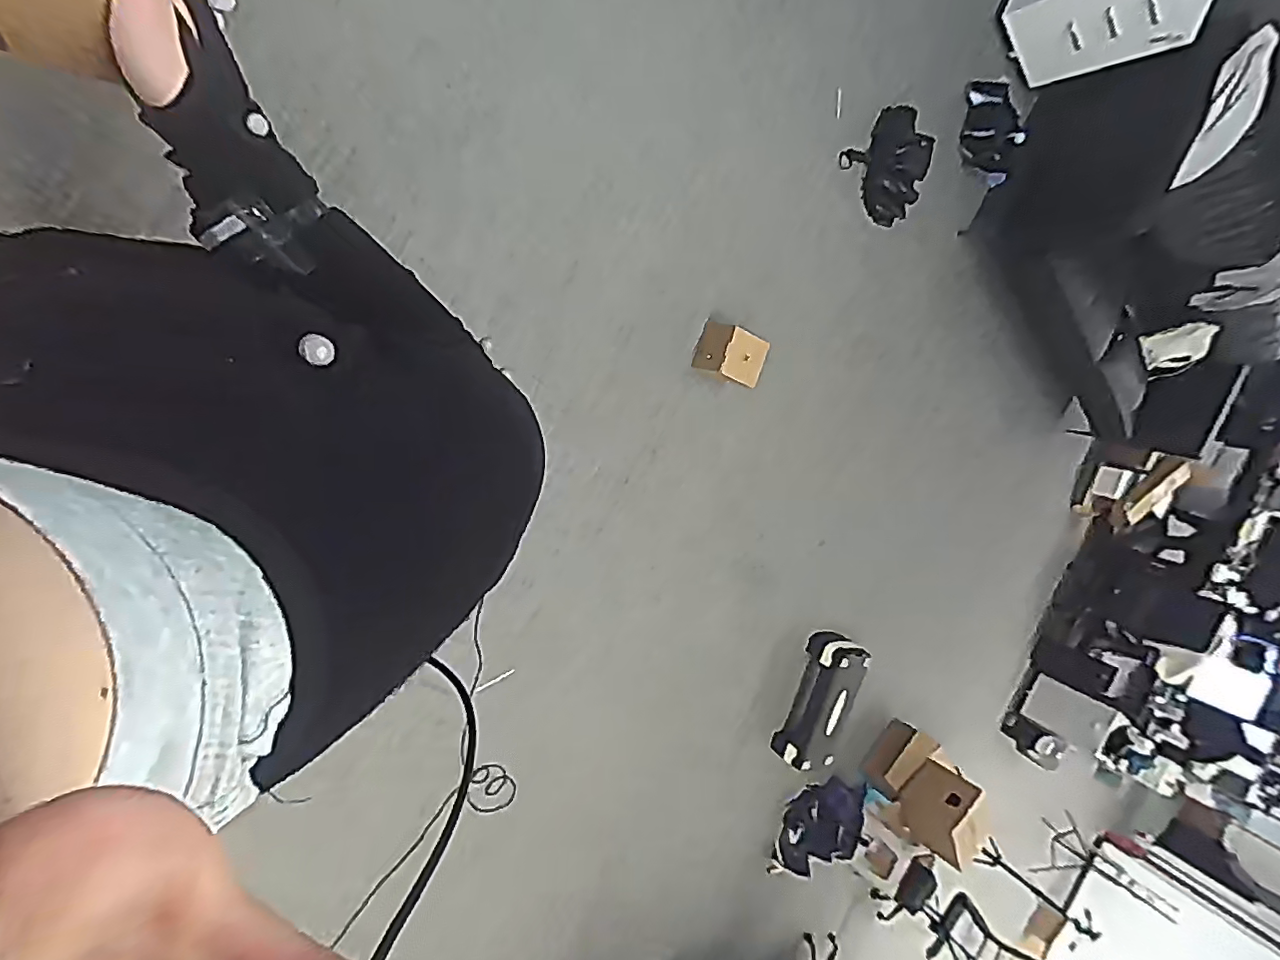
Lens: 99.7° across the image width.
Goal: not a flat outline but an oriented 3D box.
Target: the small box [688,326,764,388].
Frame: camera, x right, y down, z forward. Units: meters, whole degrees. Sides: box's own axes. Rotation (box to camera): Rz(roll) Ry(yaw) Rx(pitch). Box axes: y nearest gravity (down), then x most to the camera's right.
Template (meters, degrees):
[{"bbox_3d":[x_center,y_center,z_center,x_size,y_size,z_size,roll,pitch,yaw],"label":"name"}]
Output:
[{"bbox_3d":[0.300,-0.439,1.915,0.179,0.176,0.168,14,98,-37],"label":"small box"}]

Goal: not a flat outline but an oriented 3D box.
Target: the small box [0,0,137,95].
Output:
[{"bbox_3d":[-0.359,-0.321,0.231,0.168,0.176,0.179,-10,85,-28],"label":"small box"}]
